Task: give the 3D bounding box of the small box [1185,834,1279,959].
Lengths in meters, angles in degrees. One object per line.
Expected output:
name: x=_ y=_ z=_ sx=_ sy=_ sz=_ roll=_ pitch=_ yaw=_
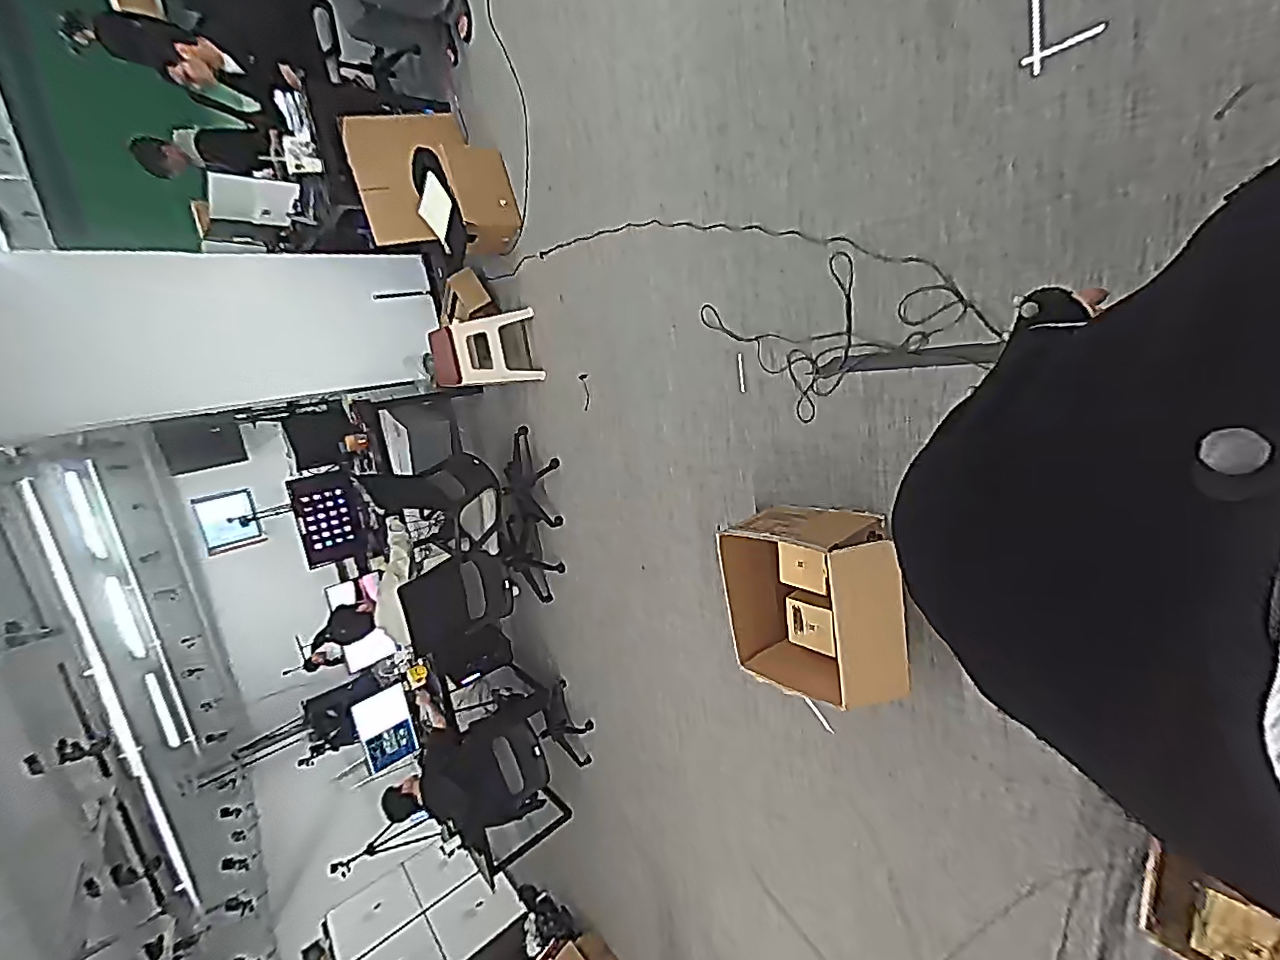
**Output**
small box: x=1.254 y=0.881 z=1.106 sx=0.168 sy=0.176 sz=0.179 roll=13 pitch=113 yaw=48
